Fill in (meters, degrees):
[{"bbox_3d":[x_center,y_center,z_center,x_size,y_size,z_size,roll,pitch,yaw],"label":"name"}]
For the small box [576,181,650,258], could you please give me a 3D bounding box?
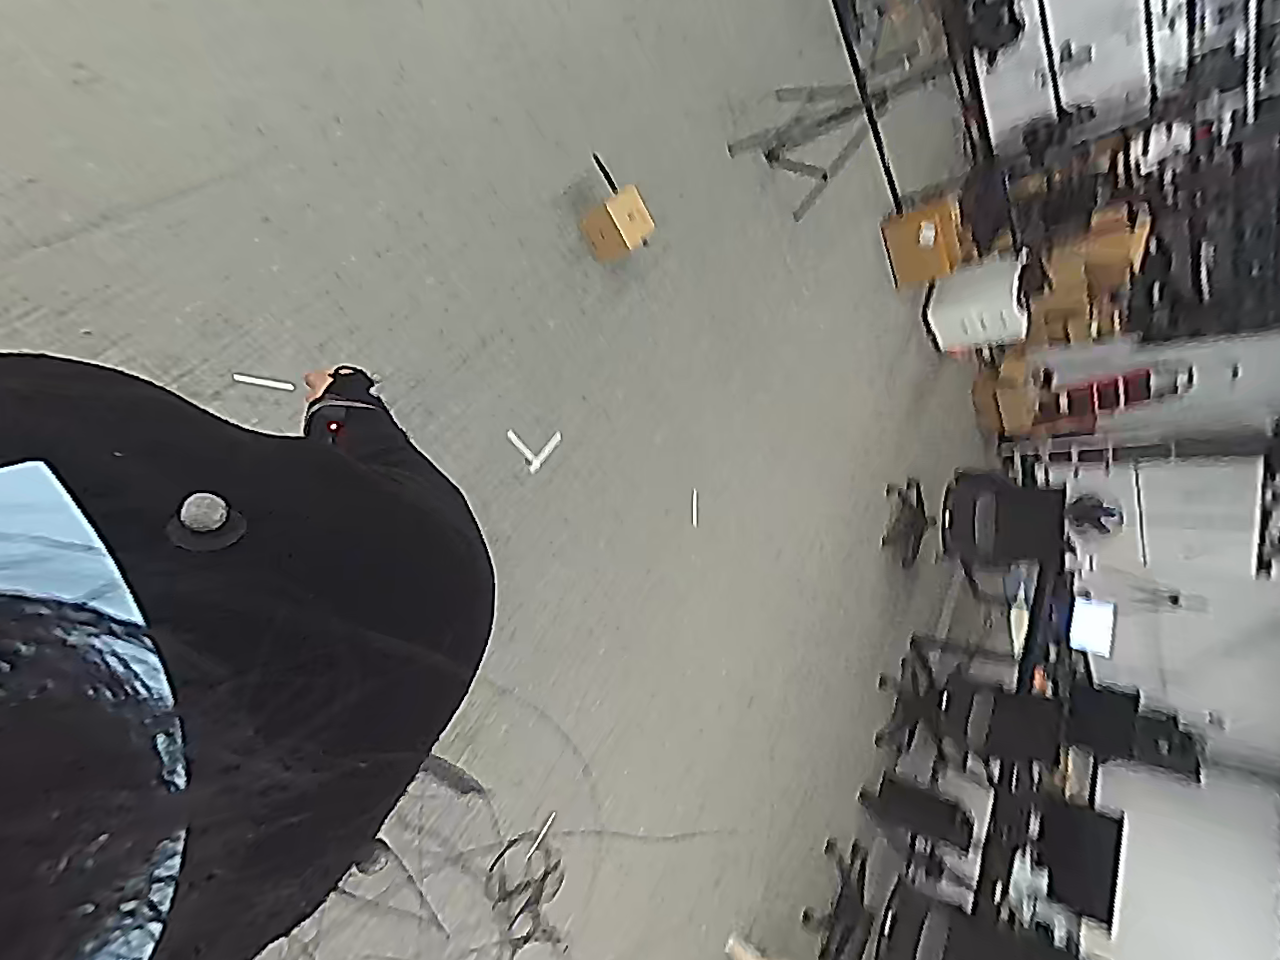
[{"bbox_3d":[-0.103,-0.918,1.922,0.179,0.176,0.168,-52,123,-31],"label":"small box"}]
